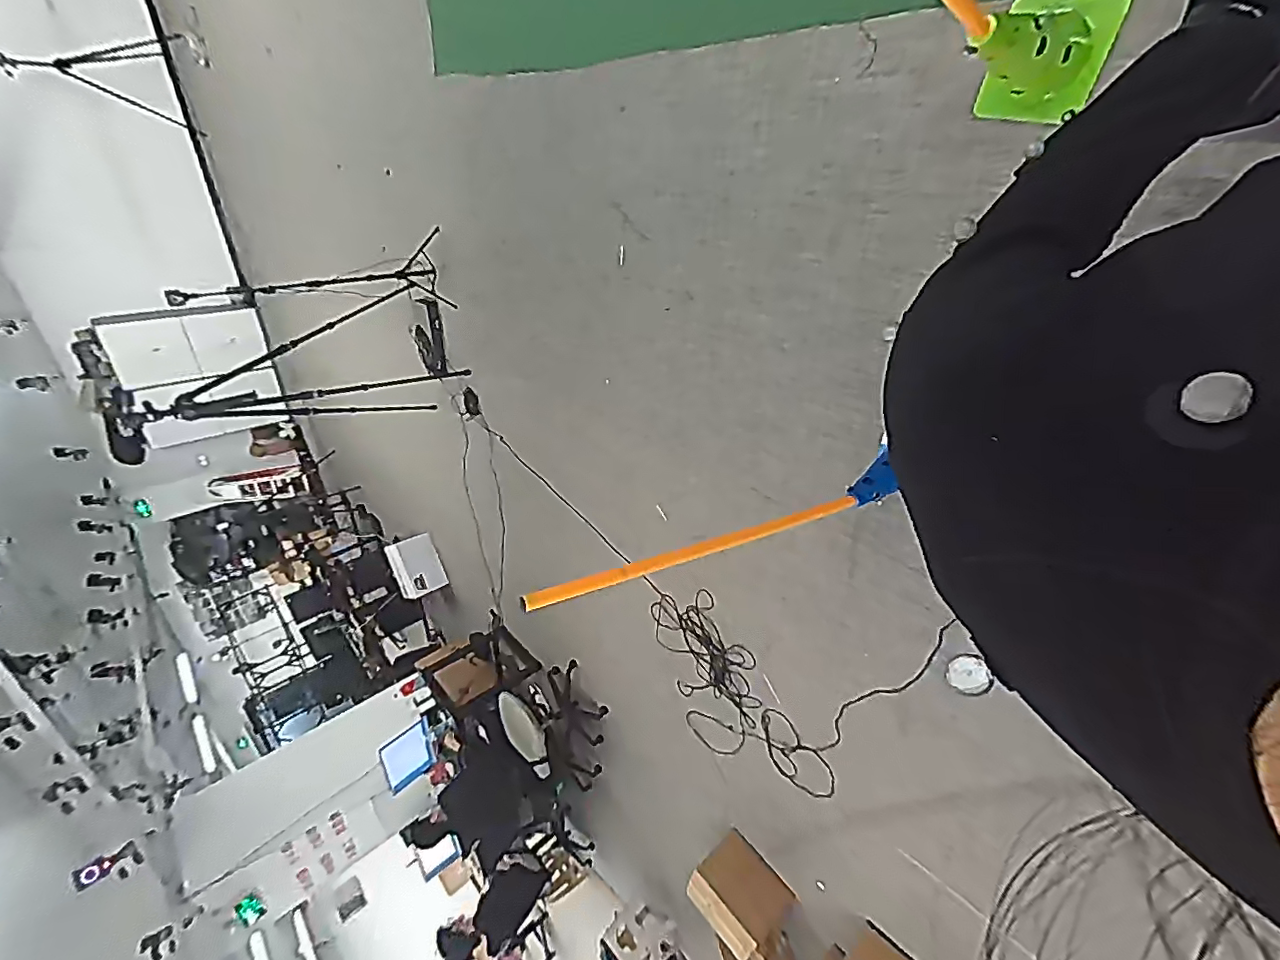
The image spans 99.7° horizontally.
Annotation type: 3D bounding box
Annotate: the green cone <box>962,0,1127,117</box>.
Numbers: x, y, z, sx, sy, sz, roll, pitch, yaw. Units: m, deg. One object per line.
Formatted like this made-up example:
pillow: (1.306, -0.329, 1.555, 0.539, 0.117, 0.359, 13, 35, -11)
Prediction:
green cone: (0.671, -0.785, 0.963, 0.202, 0.368, 0.200, 35, 133, 36)
